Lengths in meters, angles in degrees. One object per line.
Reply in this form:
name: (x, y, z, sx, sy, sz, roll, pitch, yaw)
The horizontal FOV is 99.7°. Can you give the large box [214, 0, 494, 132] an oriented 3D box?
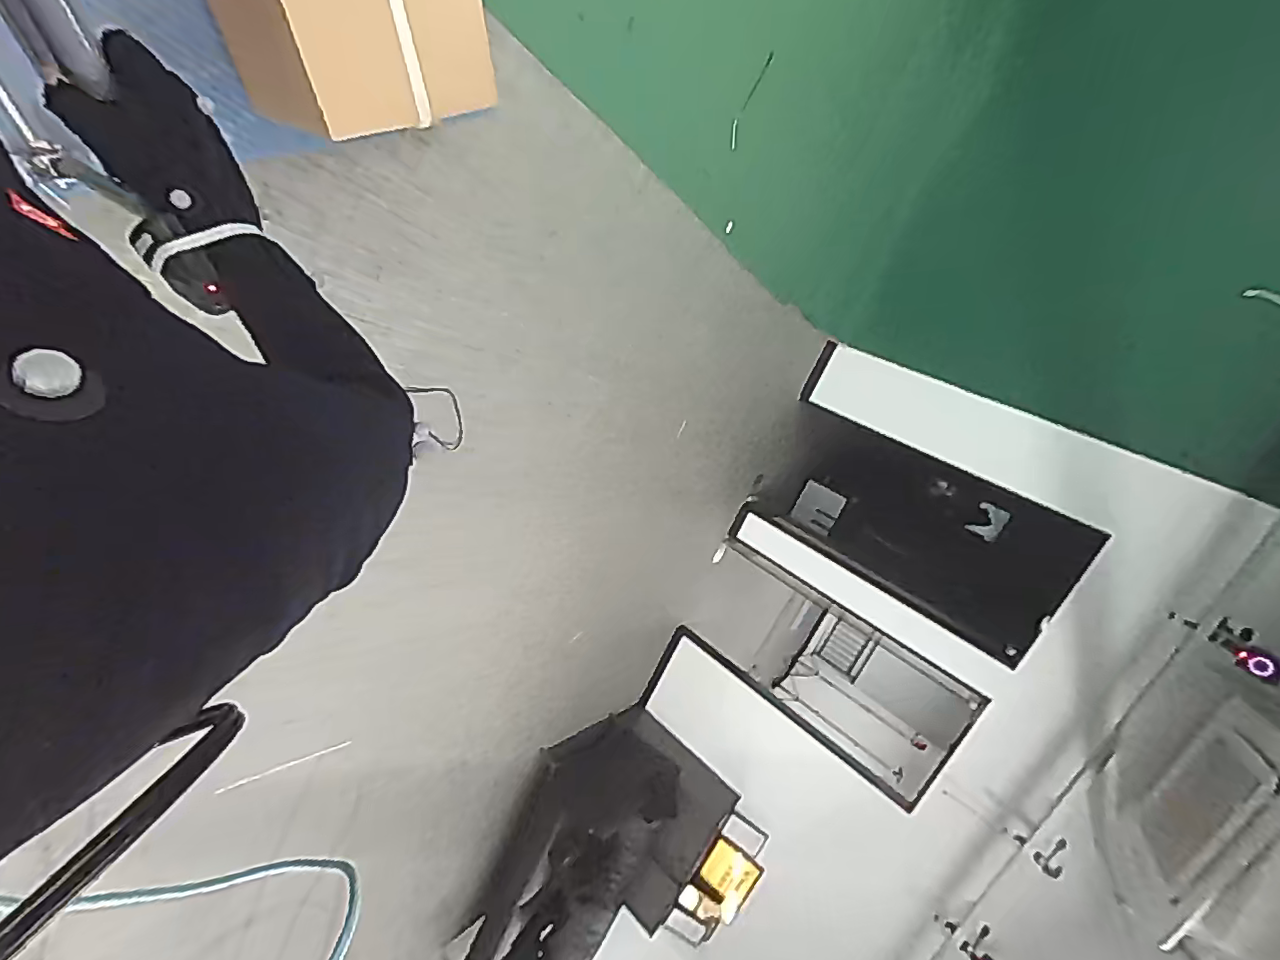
large box: (-0.481, -0.818, 0.835, 0.320, 0.320, 0.408, -38, 144, -30)
